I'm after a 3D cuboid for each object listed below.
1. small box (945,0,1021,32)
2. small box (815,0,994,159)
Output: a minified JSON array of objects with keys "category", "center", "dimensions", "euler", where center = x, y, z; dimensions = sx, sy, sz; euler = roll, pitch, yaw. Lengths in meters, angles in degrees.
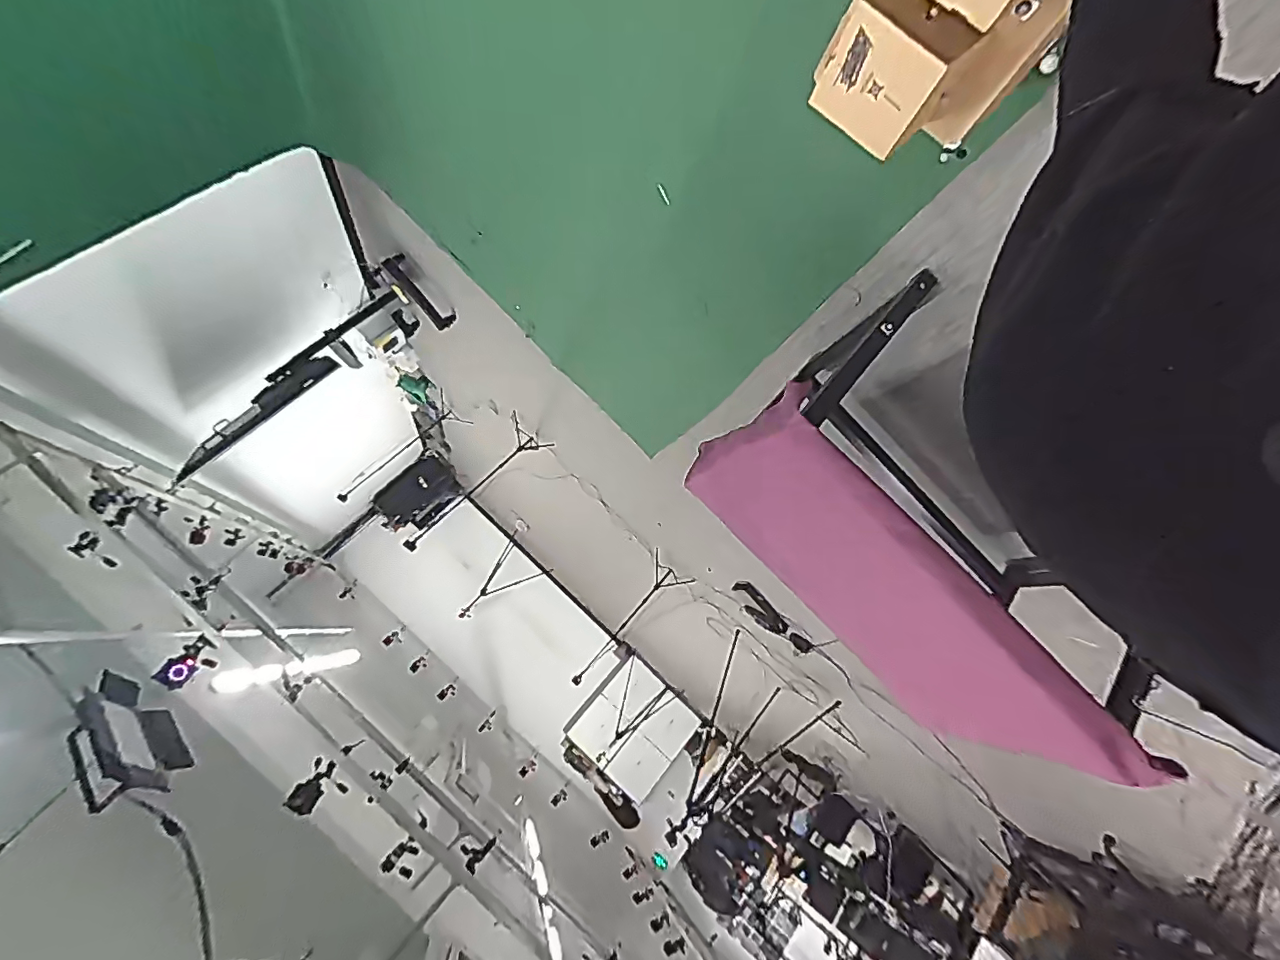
[{"category":"small box","center":[0.496,-0.759,0.711],"dimensions":[0.168,0.176,0.179],"euler":[42,158,5]},{"category":"small box","center":[0.442,-0.700,0.914],"dimensions":[0.179,0.176,0.168],"euler":[43,158,5]}]
